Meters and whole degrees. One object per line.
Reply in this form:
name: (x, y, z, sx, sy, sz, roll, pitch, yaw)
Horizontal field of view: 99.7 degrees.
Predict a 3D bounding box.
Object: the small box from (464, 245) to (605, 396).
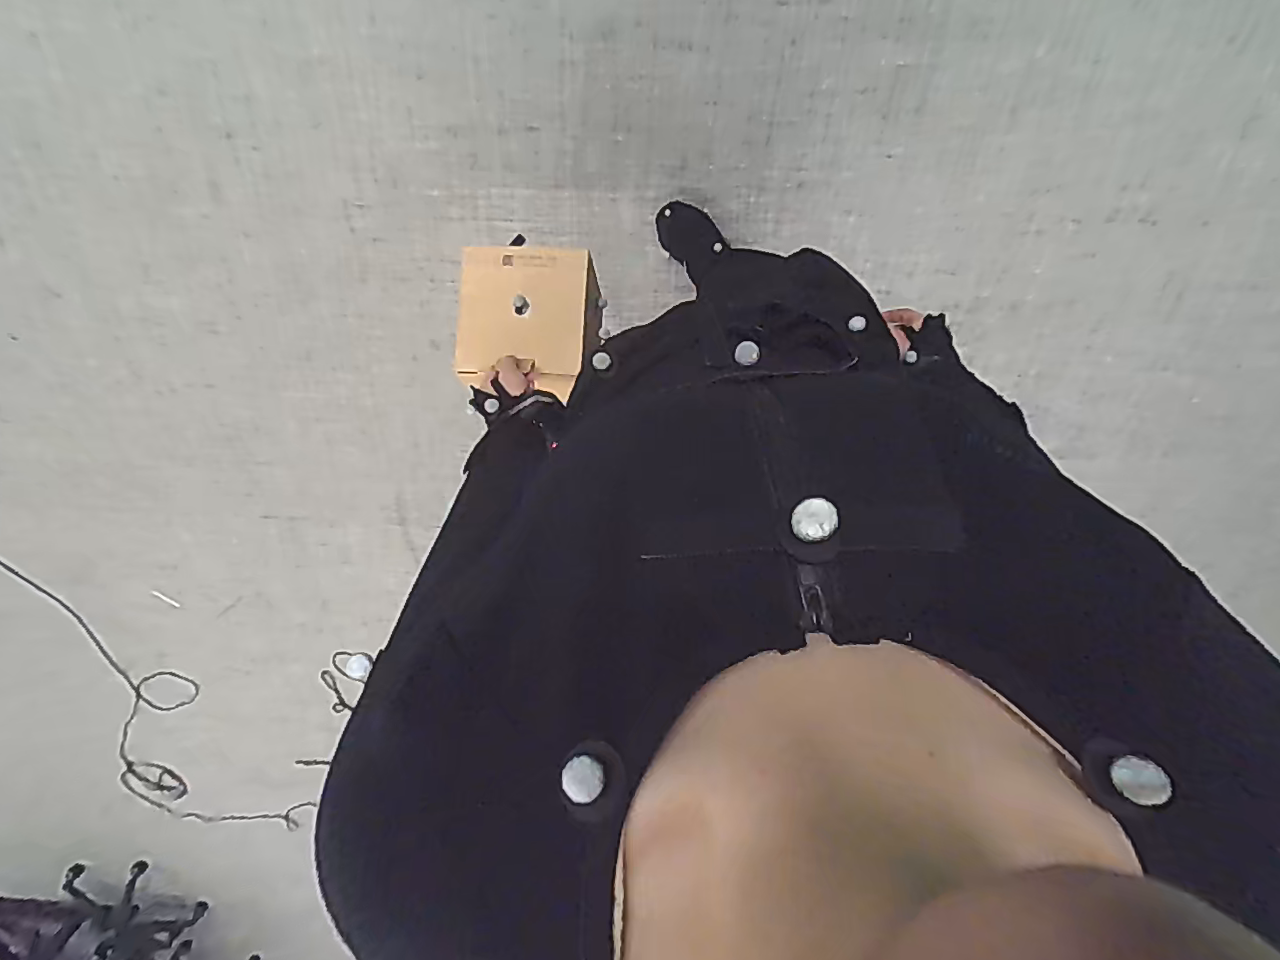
small box: (-0.141, -0.219, 0.771, 0.168, 0.179, 0.176, 2, 89, 3)
